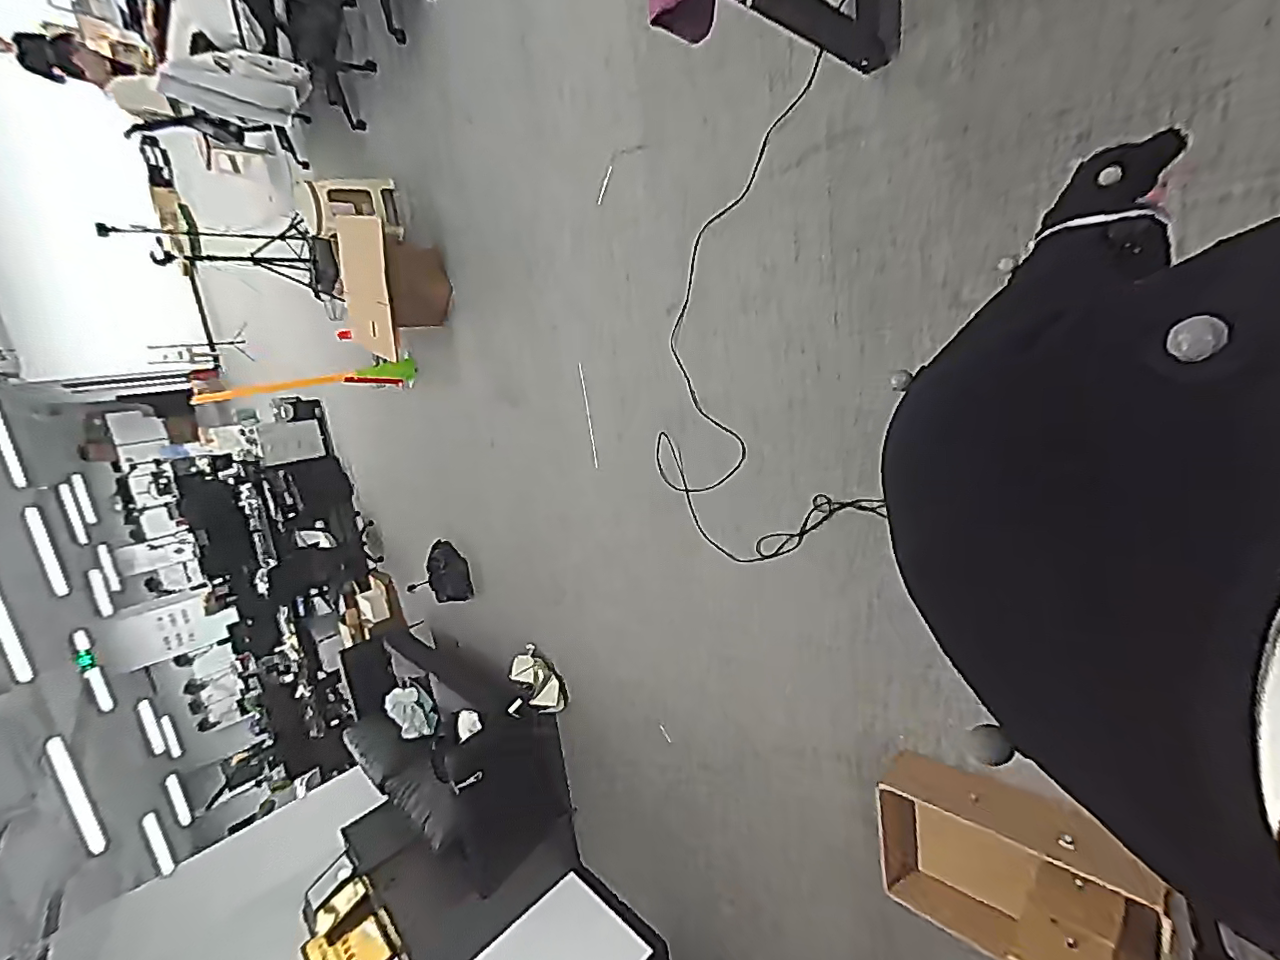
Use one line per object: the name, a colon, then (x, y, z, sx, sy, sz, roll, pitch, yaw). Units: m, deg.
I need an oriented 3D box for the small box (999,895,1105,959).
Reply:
small box: (0.934, 1.111, 1.224, 0.168, 0.176, 0.179, 4, 108, 48)

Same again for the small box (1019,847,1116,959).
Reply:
small box: (1.050, 1.067, 1.329, 0.168, 0.176, 0.179, 5, 109, 47)
